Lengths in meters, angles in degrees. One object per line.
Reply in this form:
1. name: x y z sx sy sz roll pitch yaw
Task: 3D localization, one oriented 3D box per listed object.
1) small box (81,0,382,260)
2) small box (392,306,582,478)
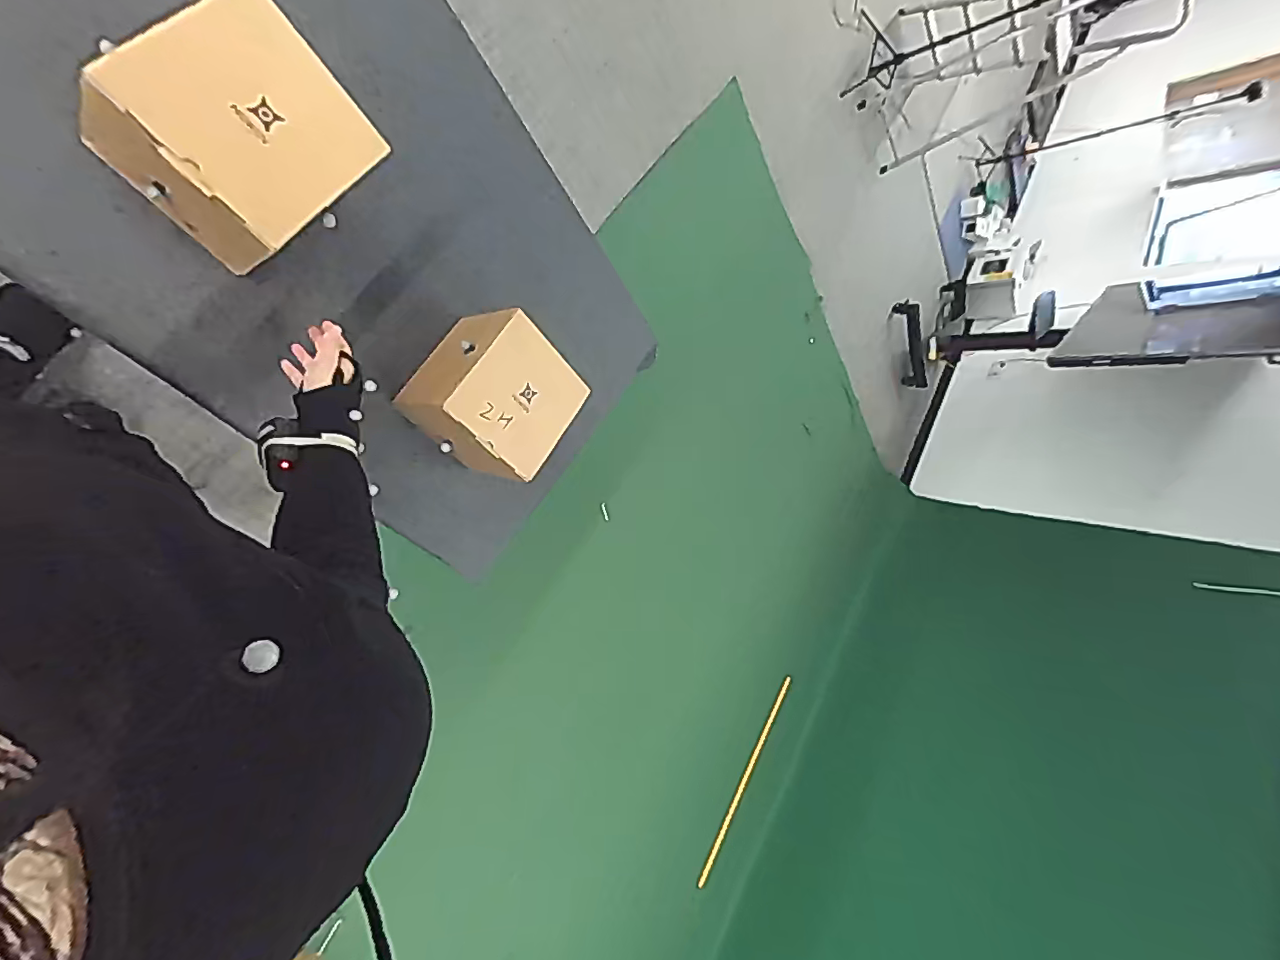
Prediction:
1. small box: -0.416 -0.355 0.556 0.179 0.176 0.168 -57 133 -21
2. small box: -0.226 -0.129 0.792 0.168 0.176 0.179 48 64 -39
